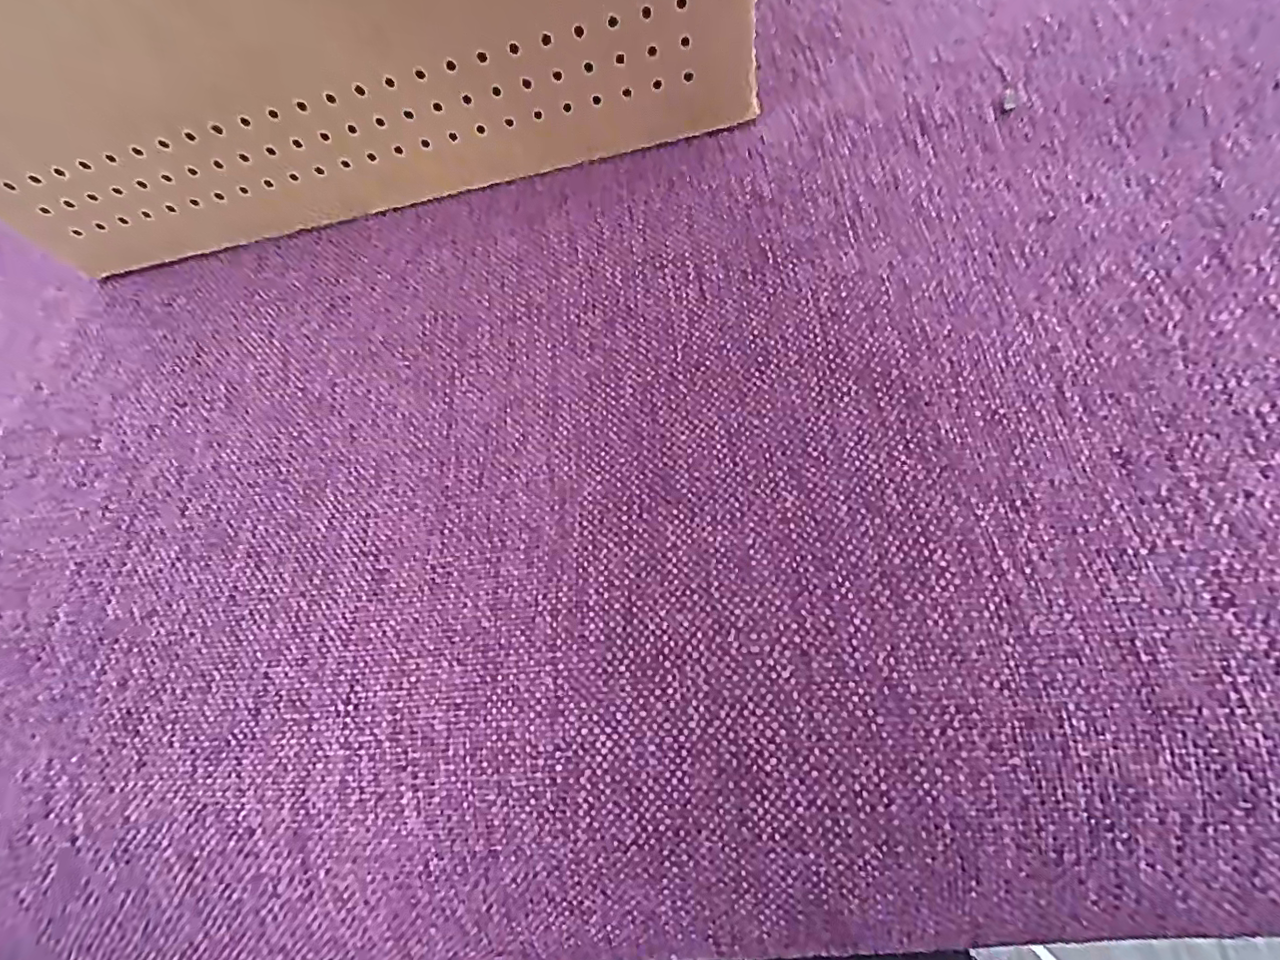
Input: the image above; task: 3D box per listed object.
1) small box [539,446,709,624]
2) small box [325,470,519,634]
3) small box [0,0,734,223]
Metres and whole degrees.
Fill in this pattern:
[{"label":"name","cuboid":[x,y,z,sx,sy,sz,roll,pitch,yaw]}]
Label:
[{"label":"small box","cuboid":[-0.012,0.076,0.645,0.179,0.176,0.168,-6,69,4]},{"label":"small box","cuboid":[-0.263,0.101,0.695,0.179,0.176,0.168,-10,69,7]},{"label":"small box","cuboid":[-0.074,-0.179,0.091,0.179,0.176,0.168,-9,66,7]}]
